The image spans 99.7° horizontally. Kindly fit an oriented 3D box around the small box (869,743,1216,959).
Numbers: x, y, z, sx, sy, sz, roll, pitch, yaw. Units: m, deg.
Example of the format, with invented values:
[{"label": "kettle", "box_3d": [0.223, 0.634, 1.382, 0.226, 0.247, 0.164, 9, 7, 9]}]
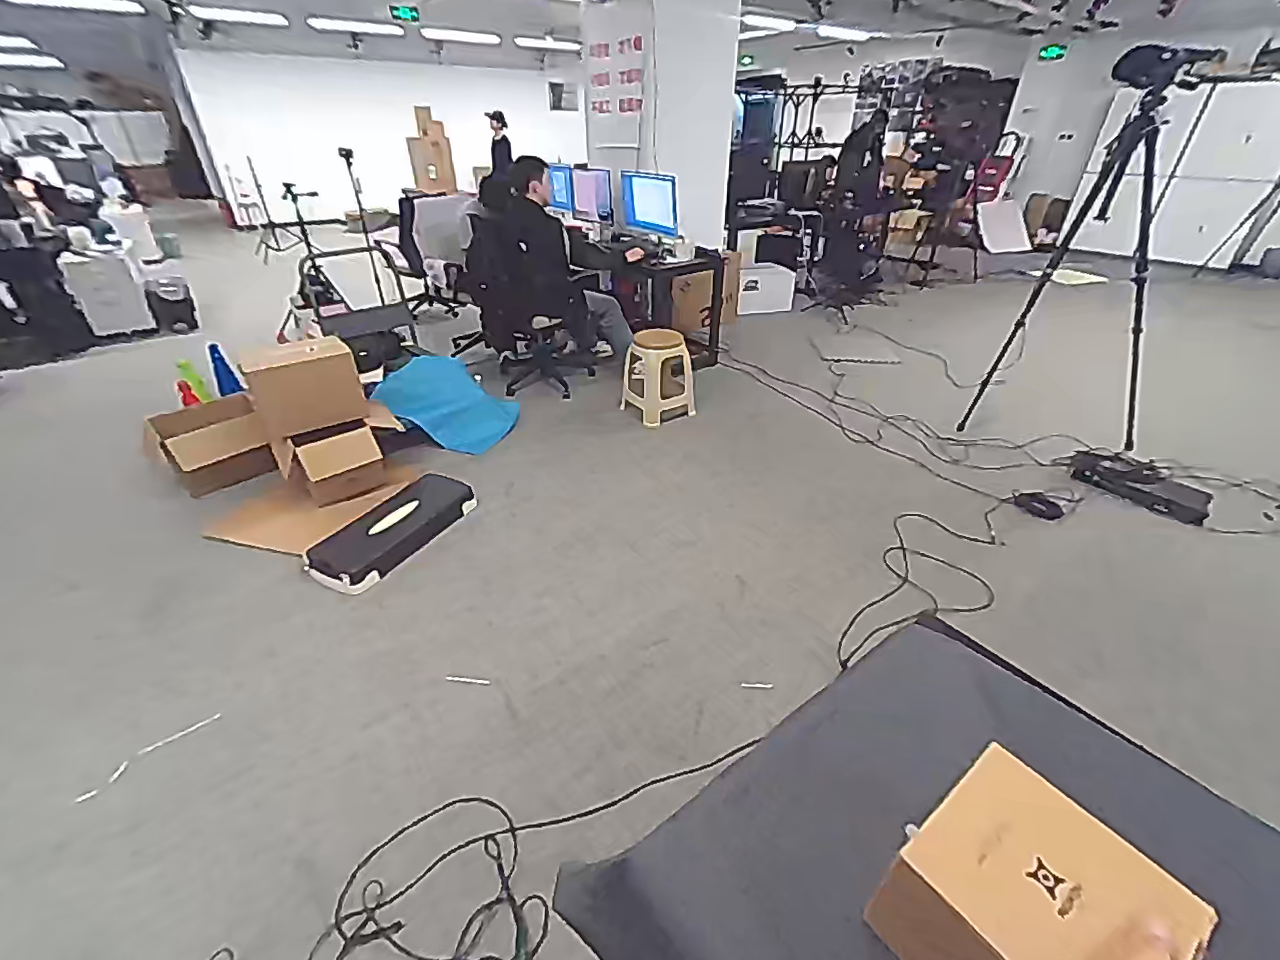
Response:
[{"label": "small box", "box_3d": [0.341, 0.392, 0.489, 0.168, 0.176, 0.179, -26, 41, -28]}]
